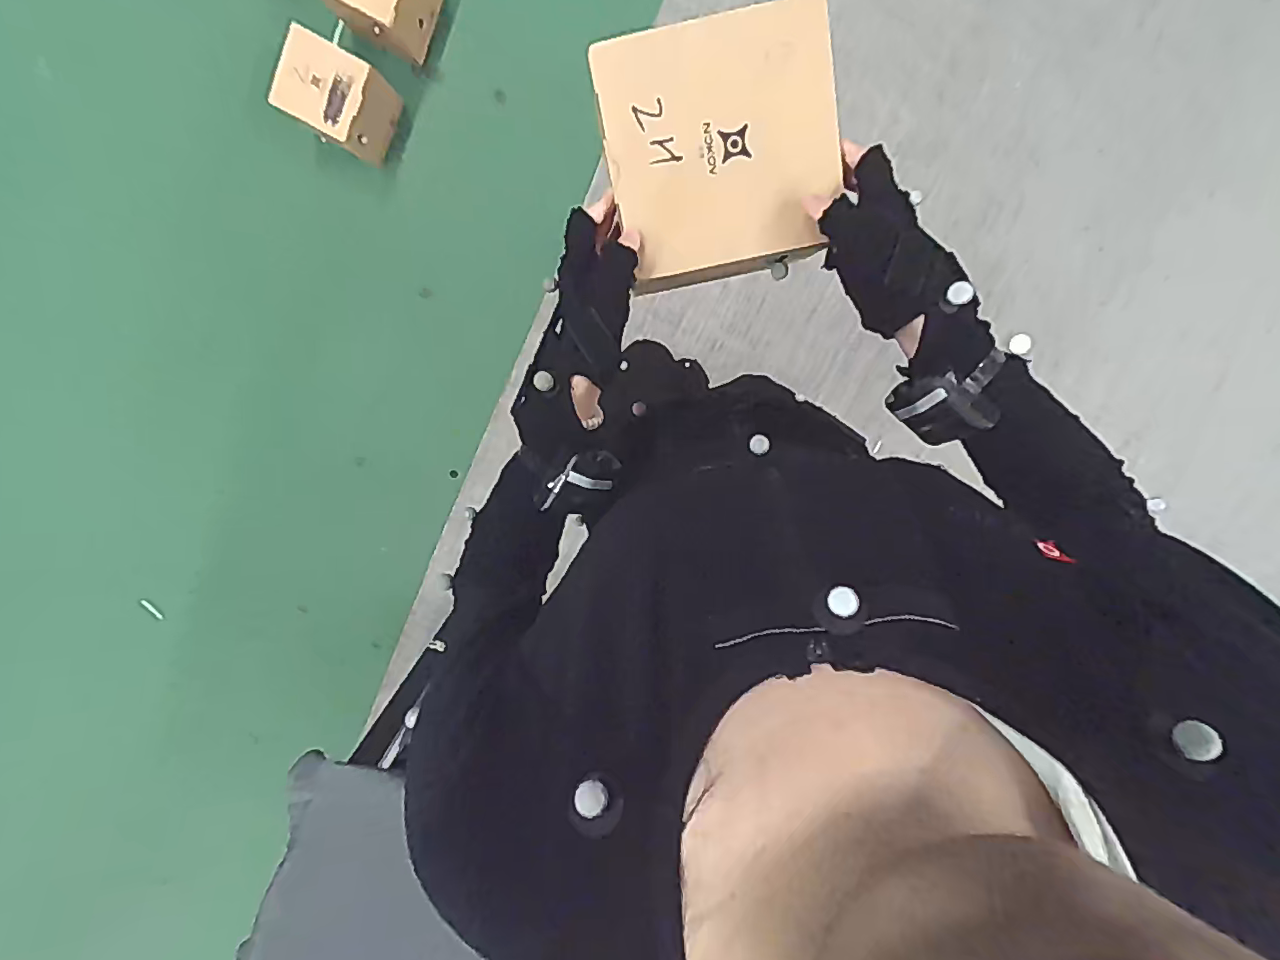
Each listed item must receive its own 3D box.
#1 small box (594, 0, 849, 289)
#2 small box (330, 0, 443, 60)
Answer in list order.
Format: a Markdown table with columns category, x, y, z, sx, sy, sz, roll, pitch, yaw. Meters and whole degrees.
| category | x | y | z | sx | sy | sz | roll | pitch | yaw |
| --- | --- | --- | --- | --- | --- | --- | --- | --- | --- |
| small box | 0.063 | -0.274 | 0.481 | 0.179 | 0.176 | 0.168 | -11 | 105 | 2 |
| small box | -0.556 | -1.057 | 1.160 | 0.179 | 0.176 | 0.168 | 24 | 102 | -7 |
